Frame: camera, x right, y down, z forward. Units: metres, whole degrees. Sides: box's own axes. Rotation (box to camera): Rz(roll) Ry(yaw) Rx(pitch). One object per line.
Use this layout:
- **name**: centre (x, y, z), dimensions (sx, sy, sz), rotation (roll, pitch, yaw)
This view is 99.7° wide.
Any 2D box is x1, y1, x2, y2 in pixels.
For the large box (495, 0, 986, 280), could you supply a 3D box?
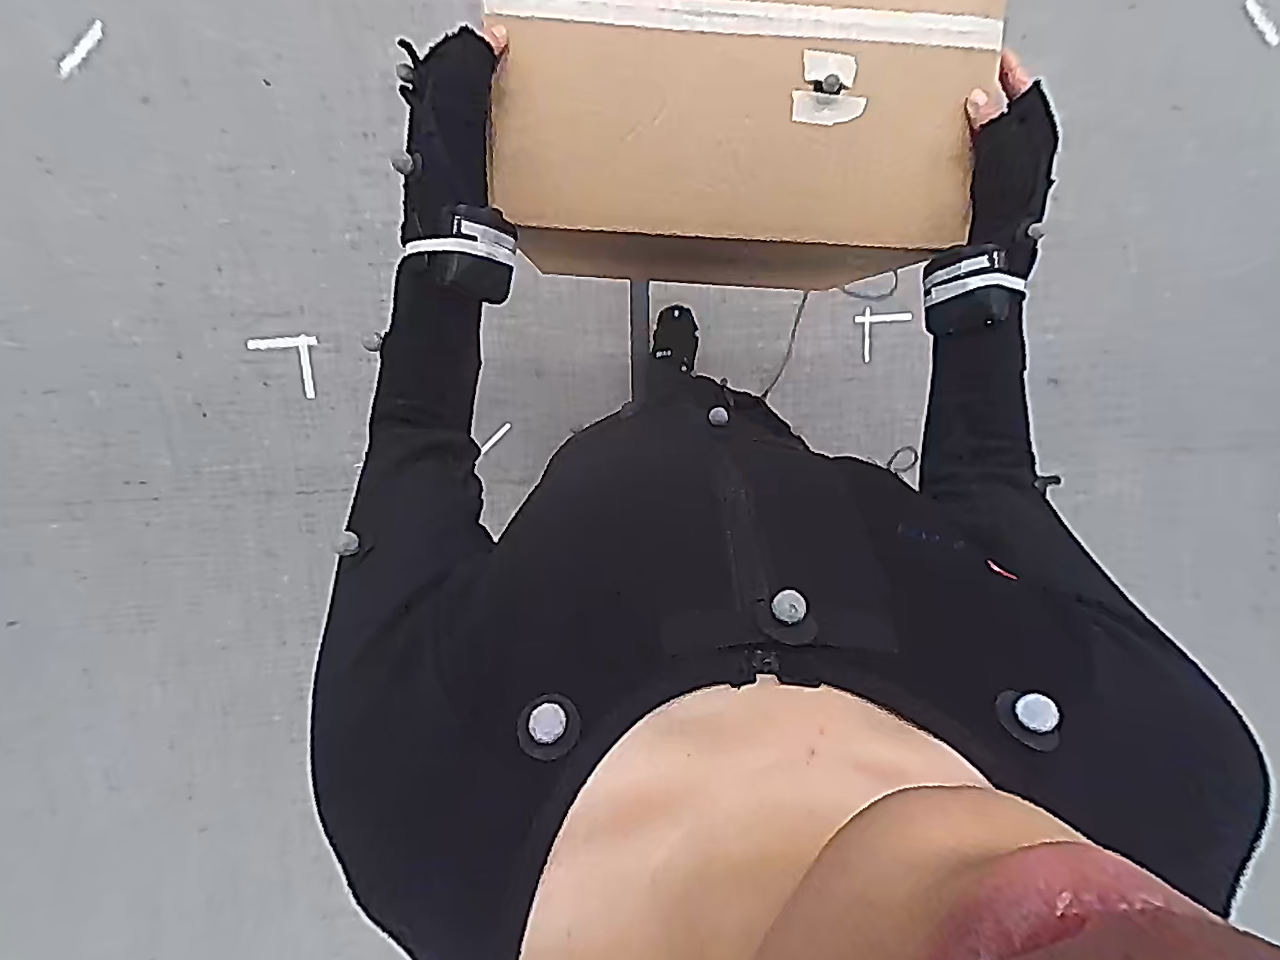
- **large box**: centre (0.073, -0.401, 0.581), dimensions (0.408, 0.320, 0.320), rotation (1, 104, -4)
